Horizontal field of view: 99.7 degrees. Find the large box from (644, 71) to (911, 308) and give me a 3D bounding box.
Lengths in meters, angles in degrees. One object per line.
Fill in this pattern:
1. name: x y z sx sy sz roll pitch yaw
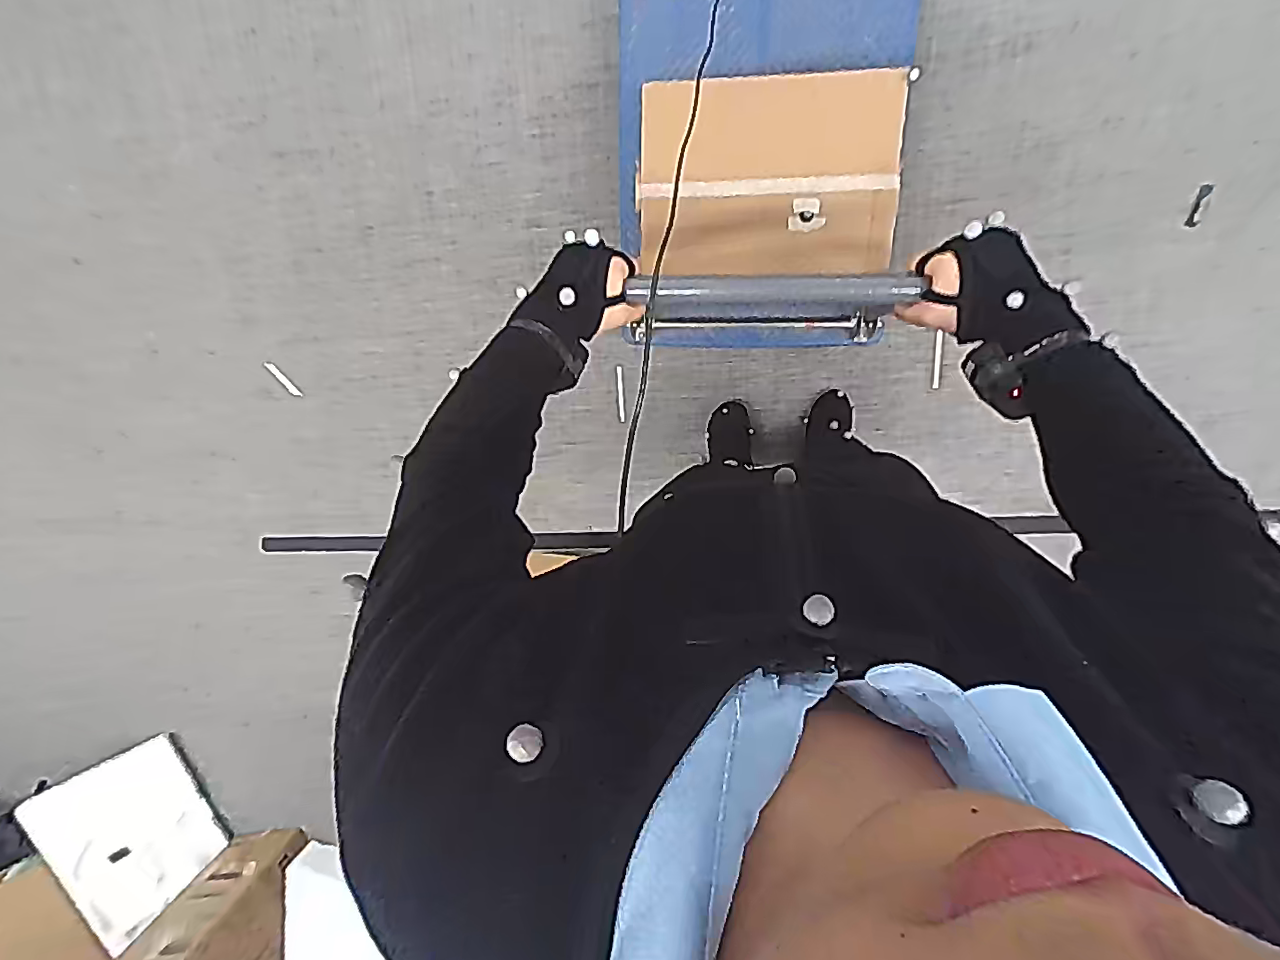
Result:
1. large box: 0.221 -0.493 0.997 0.408 0.320 0.320 2 105 7
